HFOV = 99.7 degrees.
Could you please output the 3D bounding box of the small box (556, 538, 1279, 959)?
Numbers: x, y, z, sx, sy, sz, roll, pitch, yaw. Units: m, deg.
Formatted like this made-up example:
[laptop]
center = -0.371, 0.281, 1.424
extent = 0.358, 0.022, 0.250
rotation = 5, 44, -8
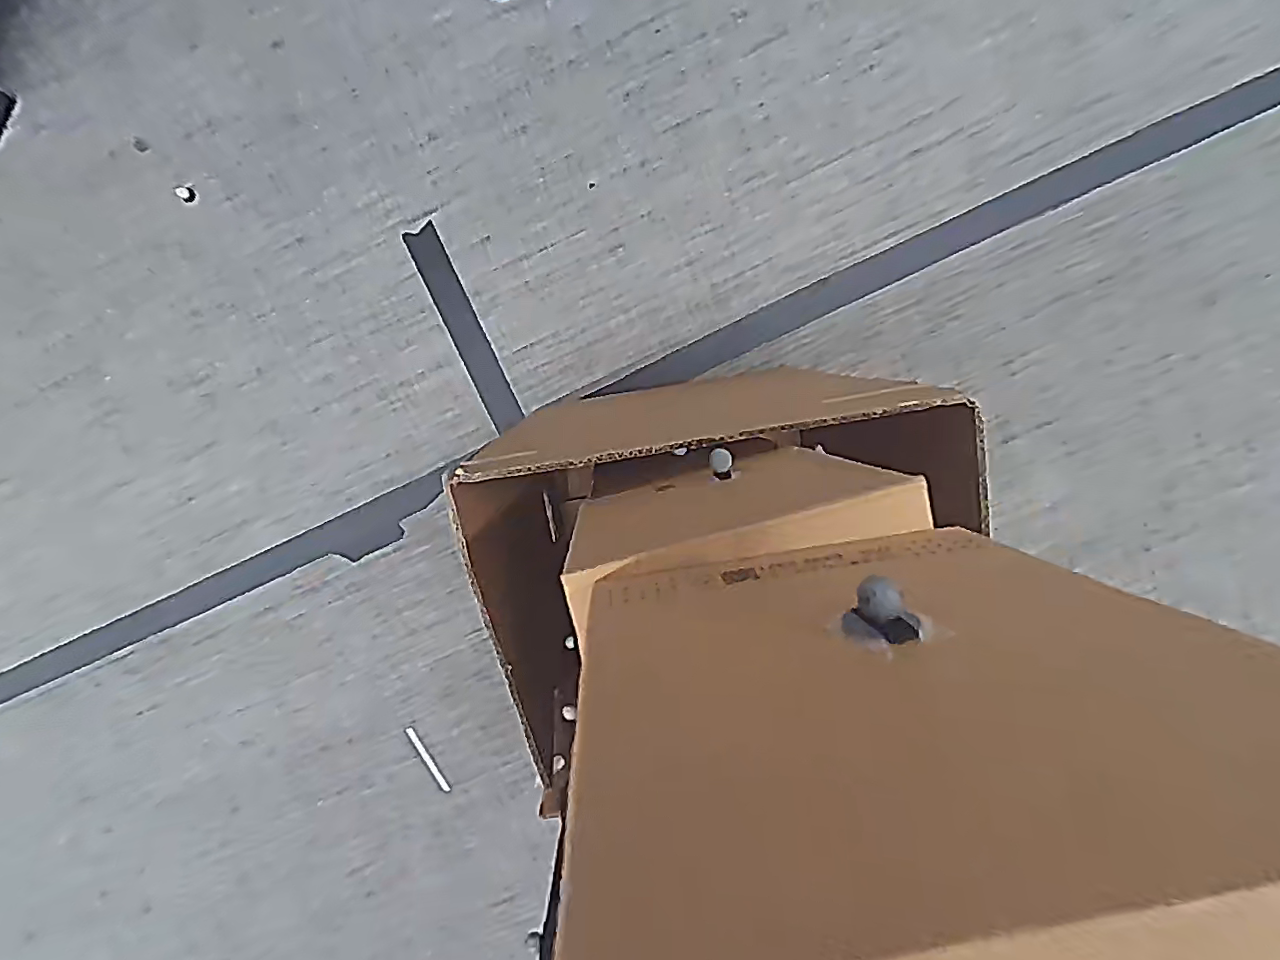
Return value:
[small box]
center = 0.072, 0.123, 0.169
extent = 0.168, 0.176, 0.179
rotation = -8, 99, -2
